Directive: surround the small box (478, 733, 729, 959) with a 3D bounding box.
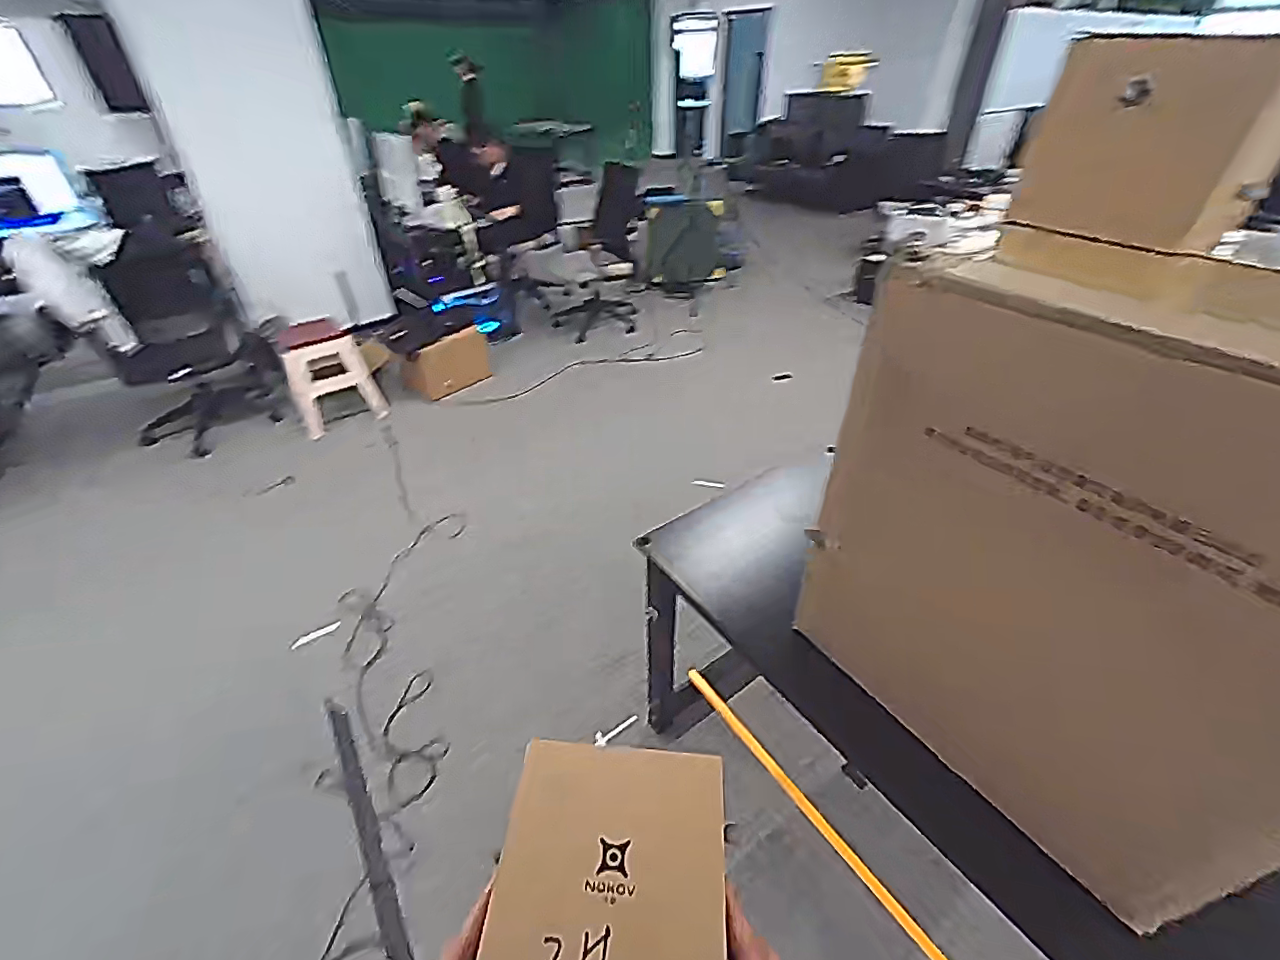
[{"bbox_3d":[-0.017,0.338,0.444,0.168,0.176,0.179,3,42,6],"label":"small box"}]

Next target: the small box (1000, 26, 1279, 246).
[{"bbox_3d":[0.523,-0.353,0.561,0.168,0.176,0.179,-23,44,-28],"label":"small box"}]
